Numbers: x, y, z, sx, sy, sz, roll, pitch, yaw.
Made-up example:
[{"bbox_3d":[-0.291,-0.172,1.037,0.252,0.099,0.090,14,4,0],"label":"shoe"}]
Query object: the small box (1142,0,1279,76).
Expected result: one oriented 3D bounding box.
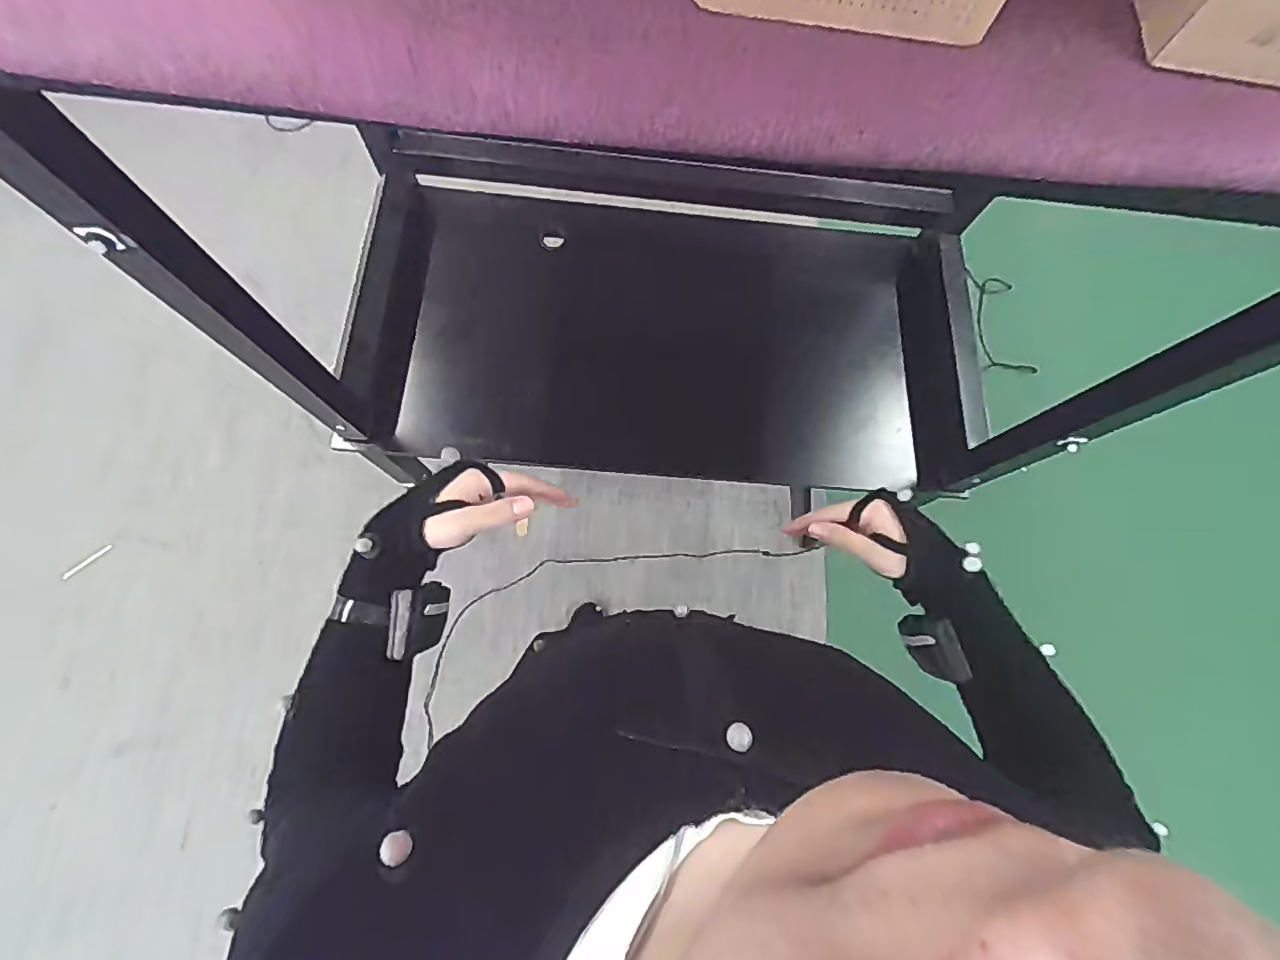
[{"bbox_3d":[0.408,-0.345,0.280,0.168,0.176,0.179,9,72,-1],"label":"small box"}]
